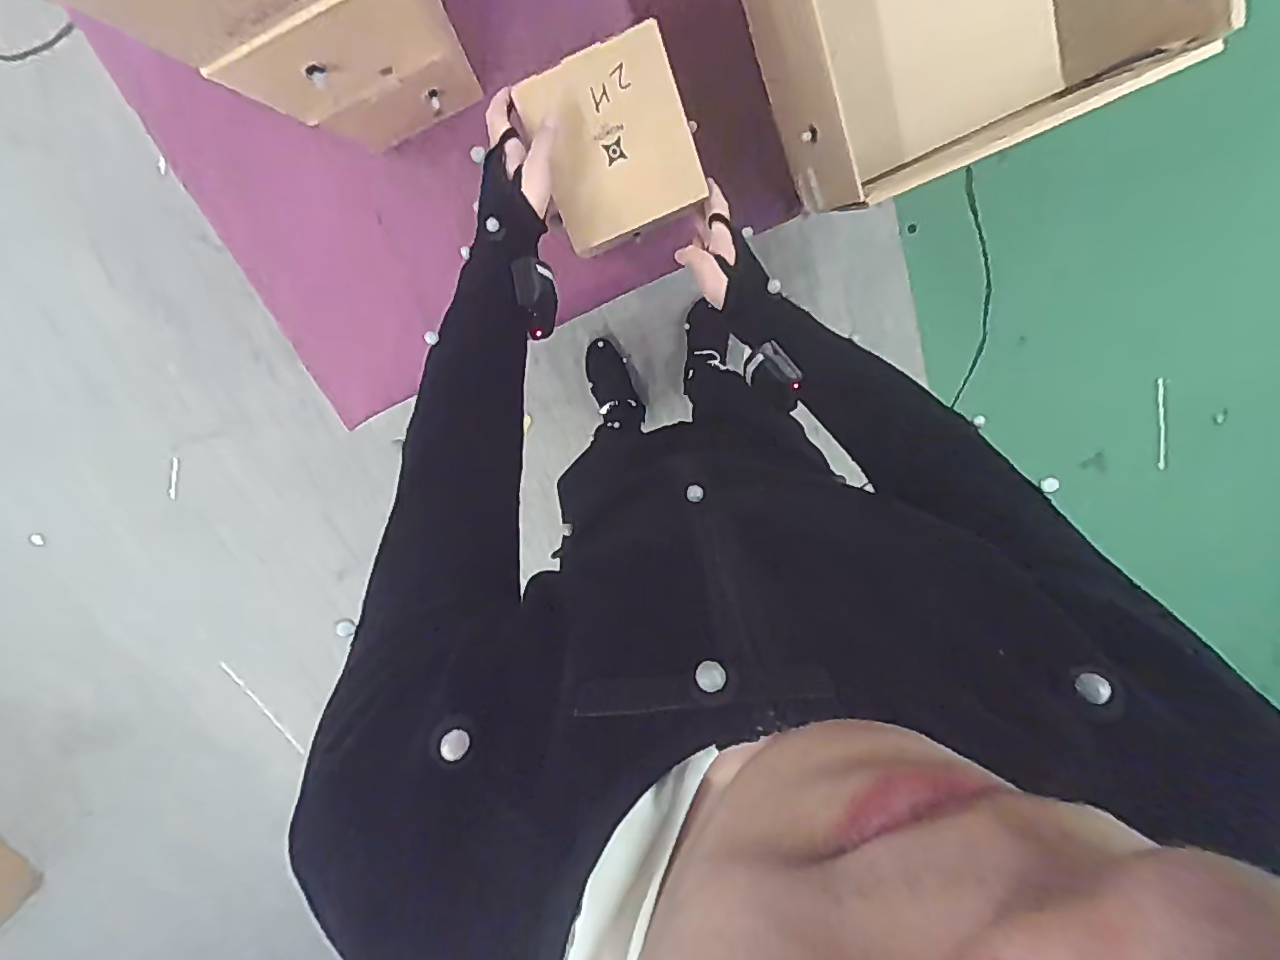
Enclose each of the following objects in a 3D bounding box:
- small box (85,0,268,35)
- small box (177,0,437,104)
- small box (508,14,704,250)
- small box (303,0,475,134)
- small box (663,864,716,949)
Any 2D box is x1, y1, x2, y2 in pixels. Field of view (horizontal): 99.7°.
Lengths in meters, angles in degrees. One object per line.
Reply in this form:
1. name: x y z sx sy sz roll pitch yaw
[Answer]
1. small box: -0.296 -0.393 0.298 0.168 0.176 0.179 -23 112 6
2. small box: -0.301 -0.450 0.452 0.168 0.176 0.179 -23 111 6
3. small box: -0.034 -0.396 0.653 0.168 0.176 0.179 -21 111 6
4. small box: -0.308 -0.514 0.600 0.168 0.176 0.179 -22 111 6
5. small box: 0.170 1.475 1.874 0.168 0.176 0.179 -2 110 -1
